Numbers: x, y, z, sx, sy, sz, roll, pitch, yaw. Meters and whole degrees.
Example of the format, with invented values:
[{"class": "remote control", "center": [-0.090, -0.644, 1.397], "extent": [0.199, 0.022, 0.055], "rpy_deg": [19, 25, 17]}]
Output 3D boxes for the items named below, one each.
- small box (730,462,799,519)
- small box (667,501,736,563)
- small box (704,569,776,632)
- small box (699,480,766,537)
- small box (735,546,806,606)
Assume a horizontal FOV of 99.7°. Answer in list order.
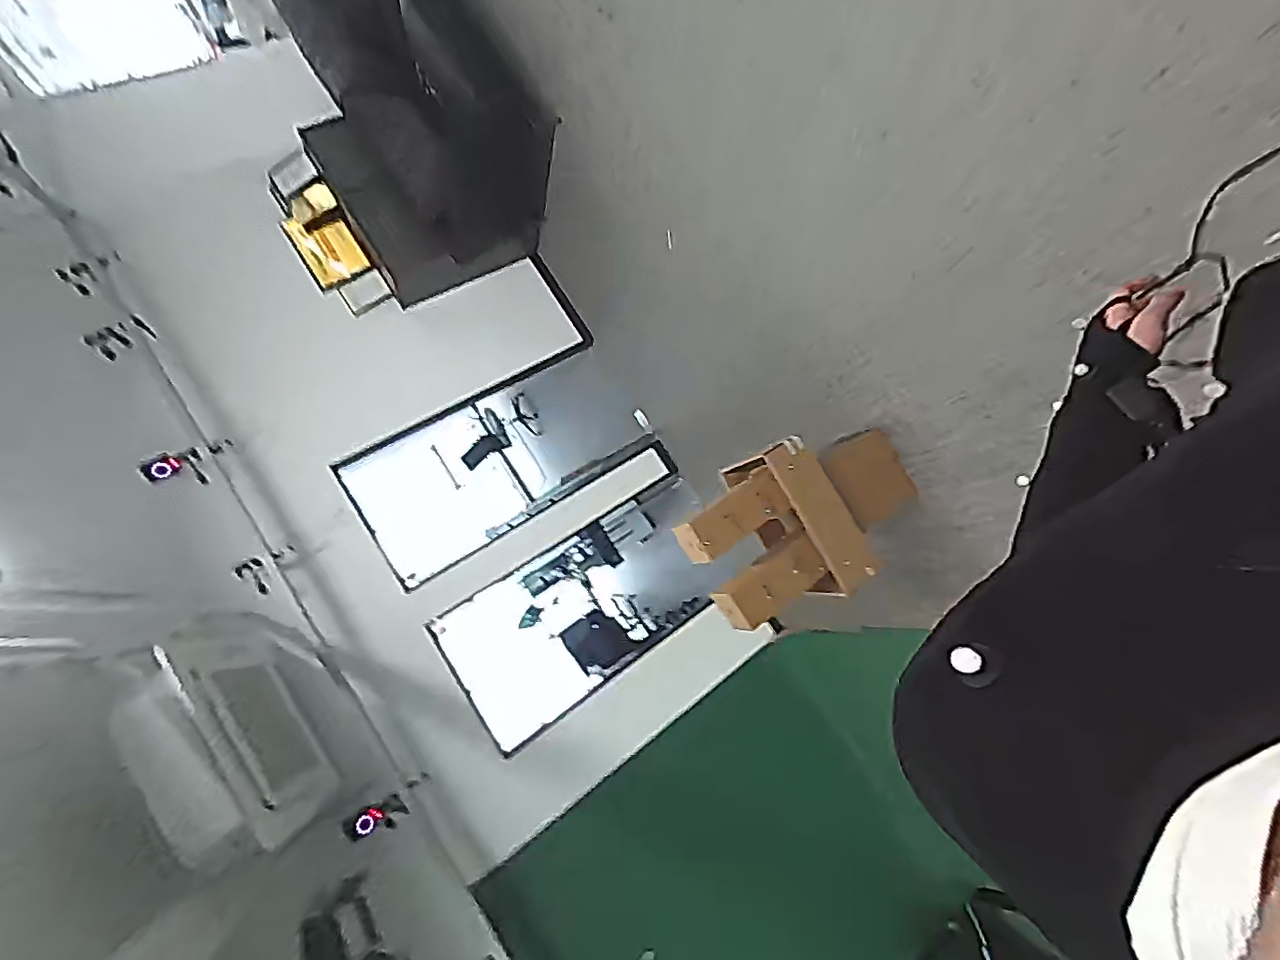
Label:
[{"class": "small box", "center": [0.496, 0.045, 2.158], "extent": [0.168, 0.176, 0.179], "rpy_deg": [60, 159, -3]}, {"class": "small box", "center": [0.232, 0.196, 2.033], "extent": [0.168, 0.176, 0.179], "rpy_deg": [58, 160, 1]}, {"class": "small box", "center": [0.379, 0.451, 2.046], "extent": [0.168, 0.176, 0.179], "rpy_deg": [58, 160, 0]}, {"class": "small box", "center": [0.362, 0.117, 2.095], "extent": [0.168, 0.176, 0.179], "rpy_deg": [59, 160, 2]}, {"class": "small box", "center": [0.510, 0.373, 2.104], "extent": [0.168, 0.176, 0.179], "rpy_deg": [58, 160, 1]}]
